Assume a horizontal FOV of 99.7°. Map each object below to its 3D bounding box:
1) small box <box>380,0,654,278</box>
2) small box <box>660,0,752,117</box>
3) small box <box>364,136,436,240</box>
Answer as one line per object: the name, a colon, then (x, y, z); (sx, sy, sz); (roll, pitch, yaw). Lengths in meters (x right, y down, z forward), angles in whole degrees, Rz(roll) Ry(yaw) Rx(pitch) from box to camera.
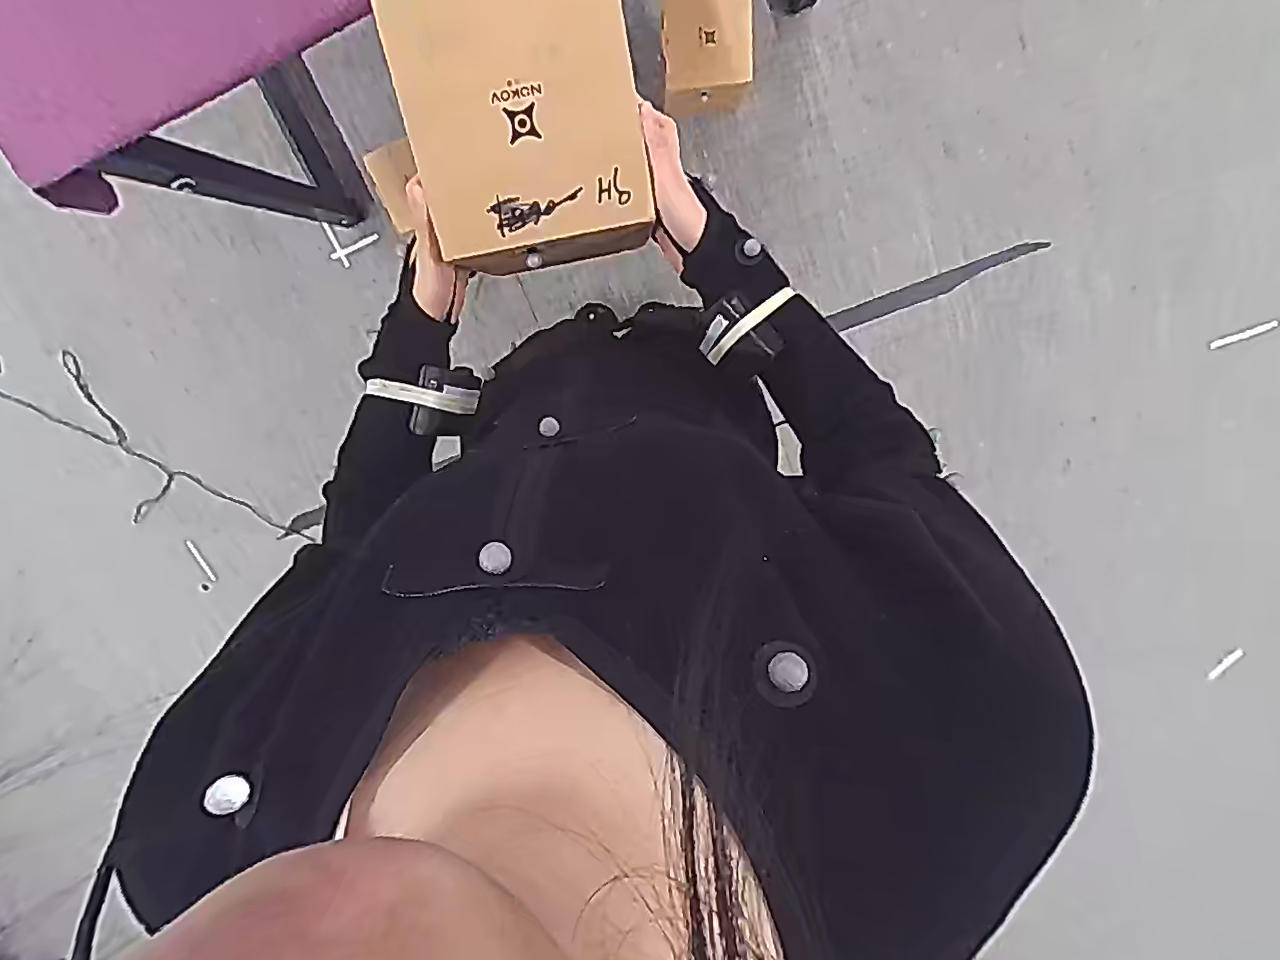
small box: (-0.086, -0.281, 0.457); (0.168, 0.176, 0.179); (-10, 107, 1)
small box: (0.135, -0.888, 1.135); (0.179, 0.176, 0.168); (-4, 109, 4)
small box: (-0.479, -0.663, 1.234); (0.179, 0.176, 0.168); (-18, 108, 7)
